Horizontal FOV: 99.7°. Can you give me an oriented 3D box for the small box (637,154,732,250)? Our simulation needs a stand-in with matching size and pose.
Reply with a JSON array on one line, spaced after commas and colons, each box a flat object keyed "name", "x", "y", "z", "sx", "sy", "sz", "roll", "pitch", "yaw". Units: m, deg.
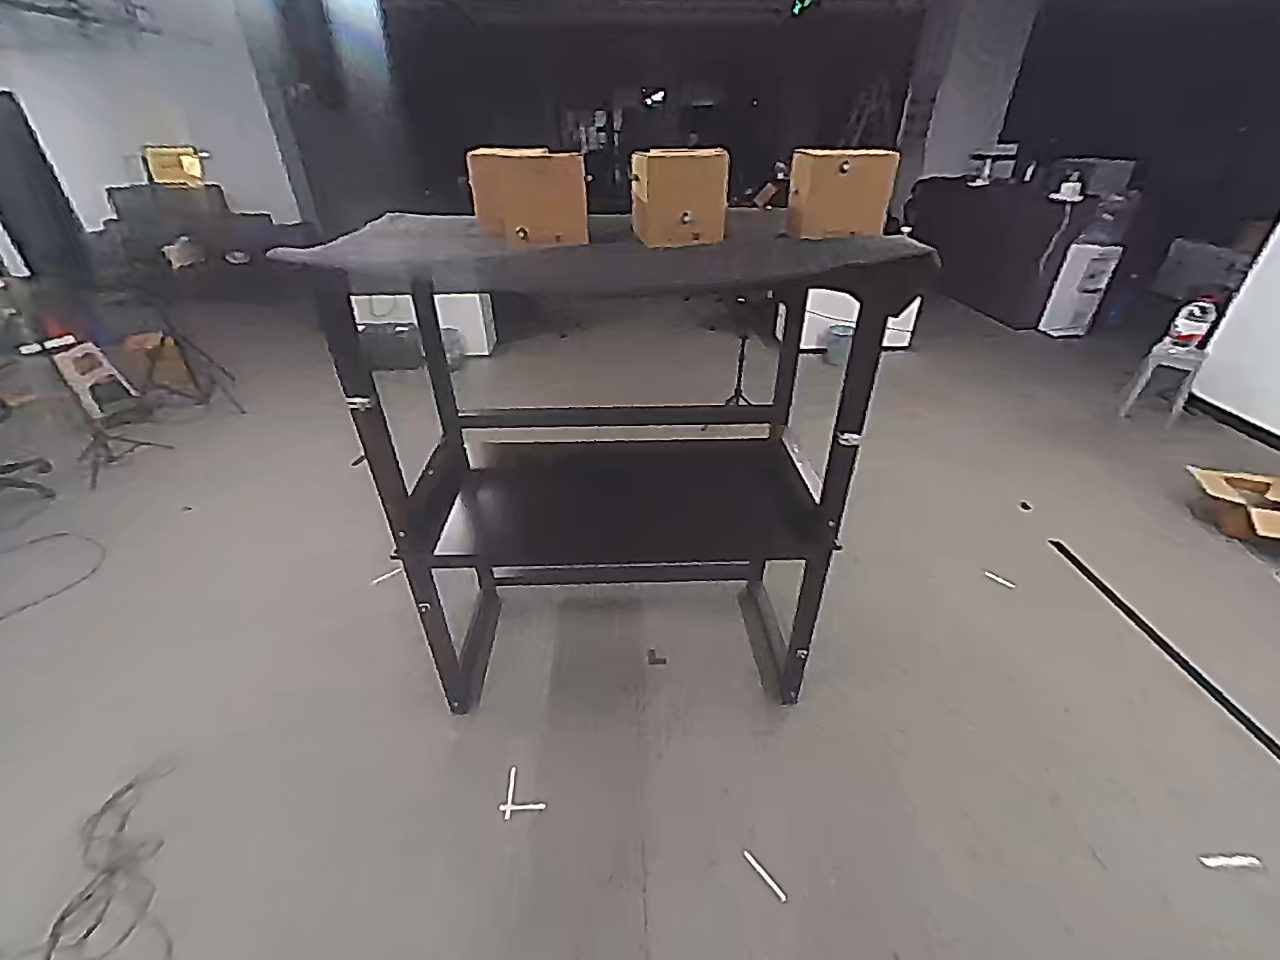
[{"name": "small box", "x": 0.086, "y": -0.597, "z": 1.158, "sx": 0.168, "sy": 0.176, "sz": 0.179, "roll": -6, "pitch": 34, "yaw": -8}]

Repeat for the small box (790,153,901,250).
[{"name": "small box", "x": 0.422, "y": -0.592, "z": 1.145, "sx": 0.168, "sy": 0.176, "sz": 0.179, "roll": 0, "pitch": 32, "yaw": 2}]

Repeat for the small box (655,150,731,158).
[{"name": "small box", "x": 0.122, "y": -0.715, "z": 1.341, "sx": 0.179, "sy": 0.176, "sz": 0.168, "roll": 0, "pitch": 32, "yaw": 0}]
